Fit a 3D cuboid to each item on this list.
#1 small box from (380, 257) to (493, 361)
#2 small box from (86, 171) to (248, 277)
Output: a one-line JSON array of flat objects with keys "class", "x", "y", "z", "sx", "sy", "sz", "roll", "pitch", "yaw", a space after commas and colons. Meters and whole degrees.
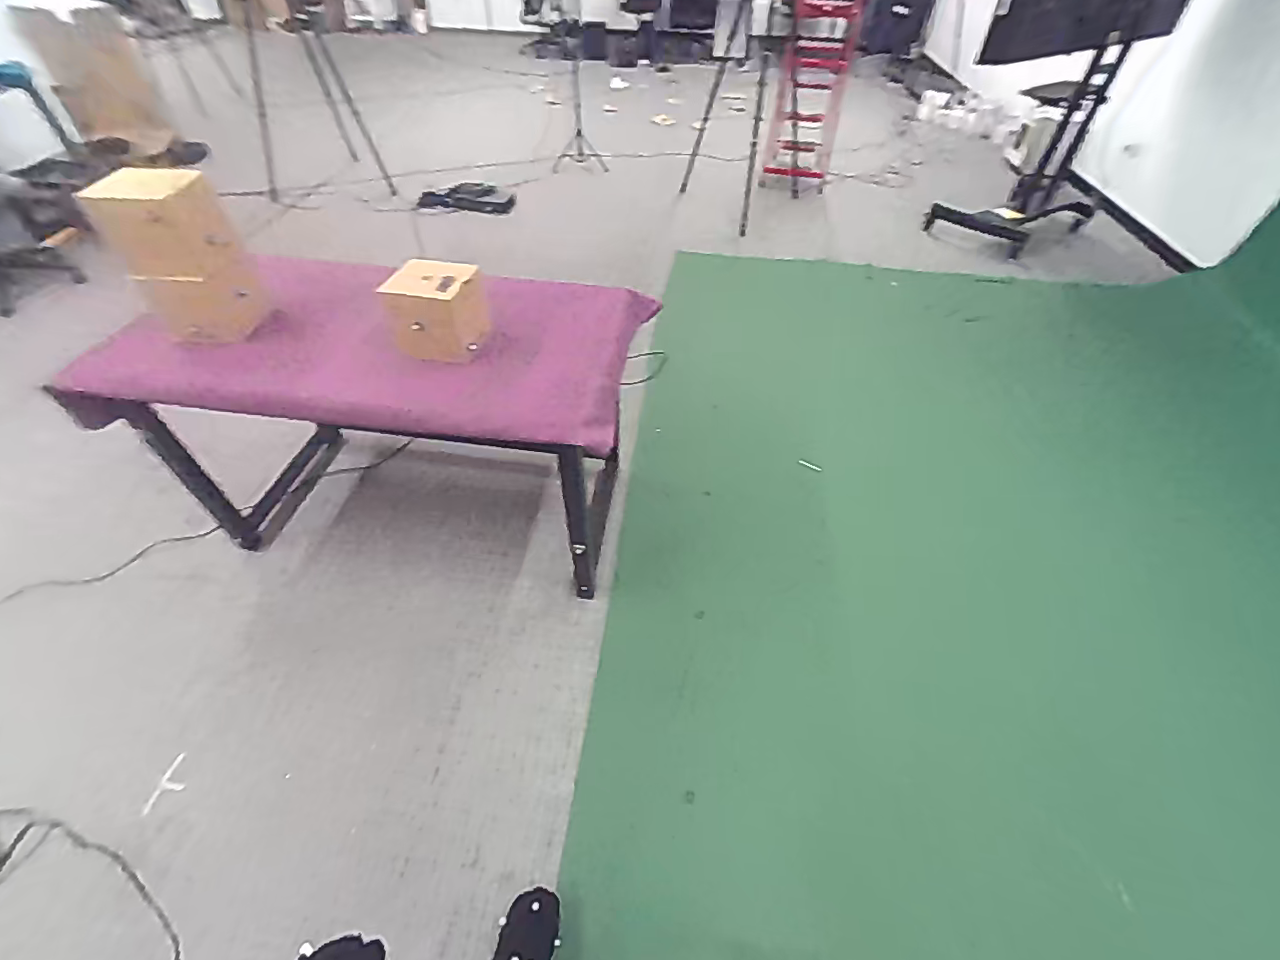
[{"class": "small box", "x": -0.467, "y": -0.402, "z": 1.278, "sx": 0.179, "sy": 0.176, "sz": 0.168, "roll": 12, "pitch": 46, "yaw": 10}, {"class": "small box", "x": -1.033, "y": -0.566, "z": 1.201, "sx": 0.179, "sy": 0.176, "sz": 0.168, "roll": 1, "pitch": 48, "yaw": -1}]
